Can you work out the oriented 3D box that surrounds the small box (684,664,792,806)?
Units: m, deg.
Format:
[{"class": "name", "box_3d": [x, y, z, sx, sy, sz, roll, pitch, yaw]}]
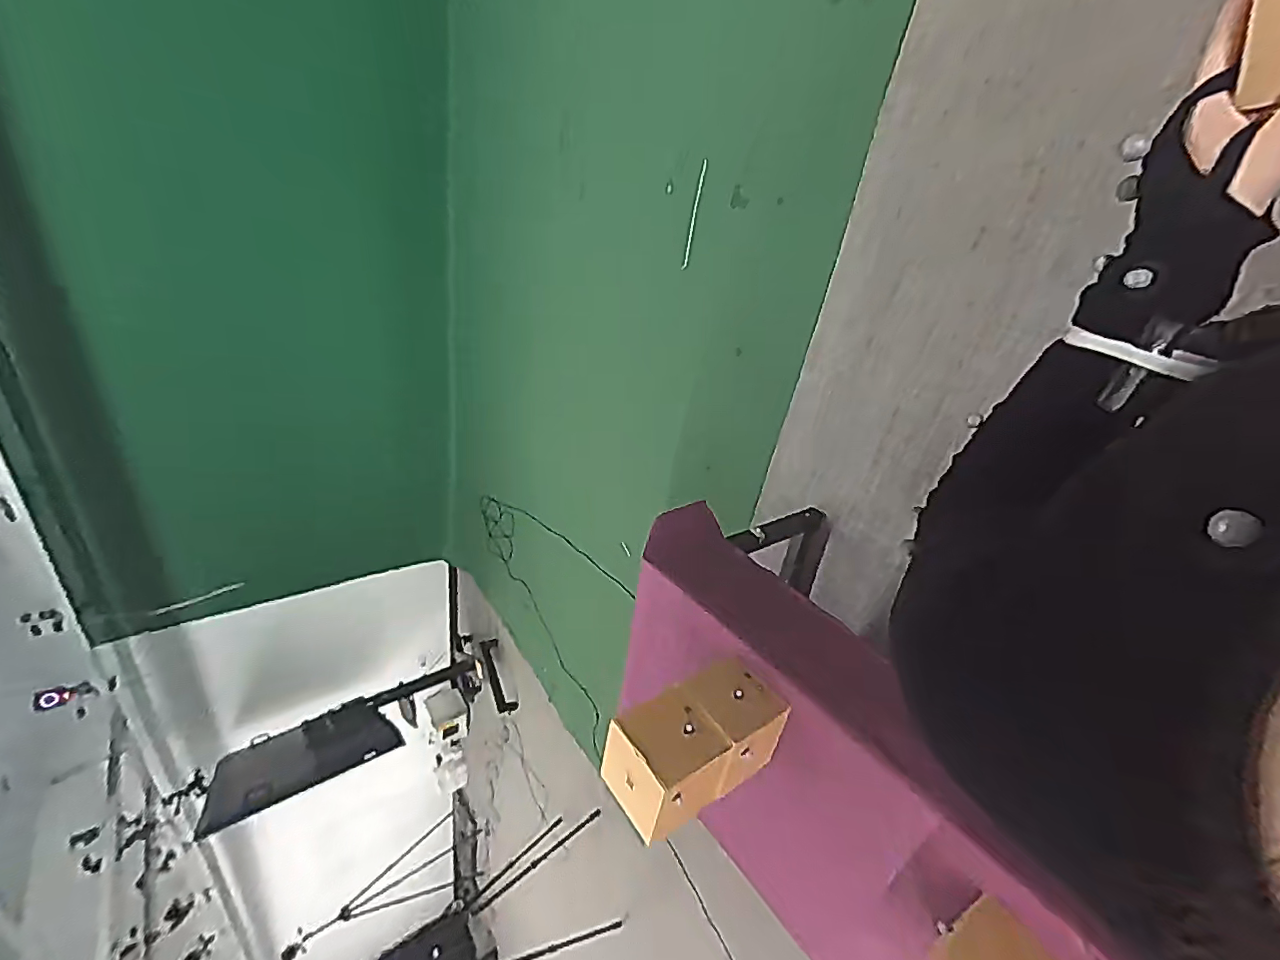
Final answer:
[{"class": "small box", "box_3d": [0.190, 0.520, 1.126, 0.168, 0.176, 0.179, 37, 128, 42]}]

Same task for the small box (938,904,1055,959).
[{"class": "small box", "box_3d": [0.518, 0.764, 0.762, 0.179, 0.176, 0.168, 40, 130, 41]}]

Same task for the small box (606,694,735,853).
[{"class": "small box", "box_3d": [0.057, 0.553, 1.036, 0.168, 0.176, 0.179, 37, 127, 42]}]
